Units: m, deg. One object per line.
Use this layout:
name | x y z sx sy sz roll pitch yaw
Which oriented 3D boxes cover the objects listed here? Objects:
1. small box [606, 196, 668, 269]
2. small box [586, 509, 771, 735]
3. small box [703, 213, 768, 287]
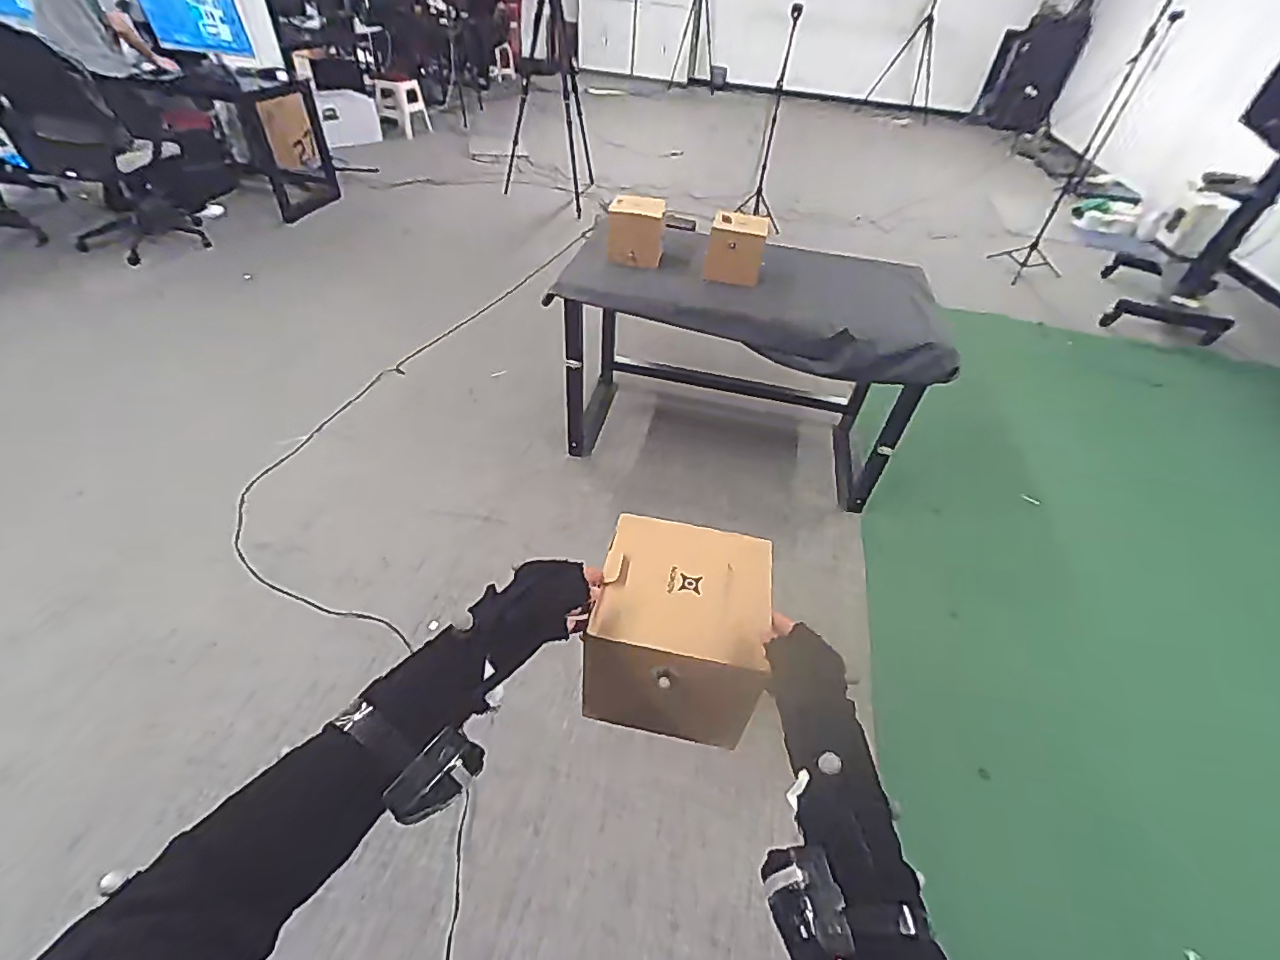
small box | -0.012 -0.829 1.817 0.179 0.176 0.168 10 44 3
small box | 0.041 0.161 0.608 0.179 0.176 0.168 11 42 3
small box | 0.311 -0.753 1.777 0.179 0.176 0.168 12 44 5
